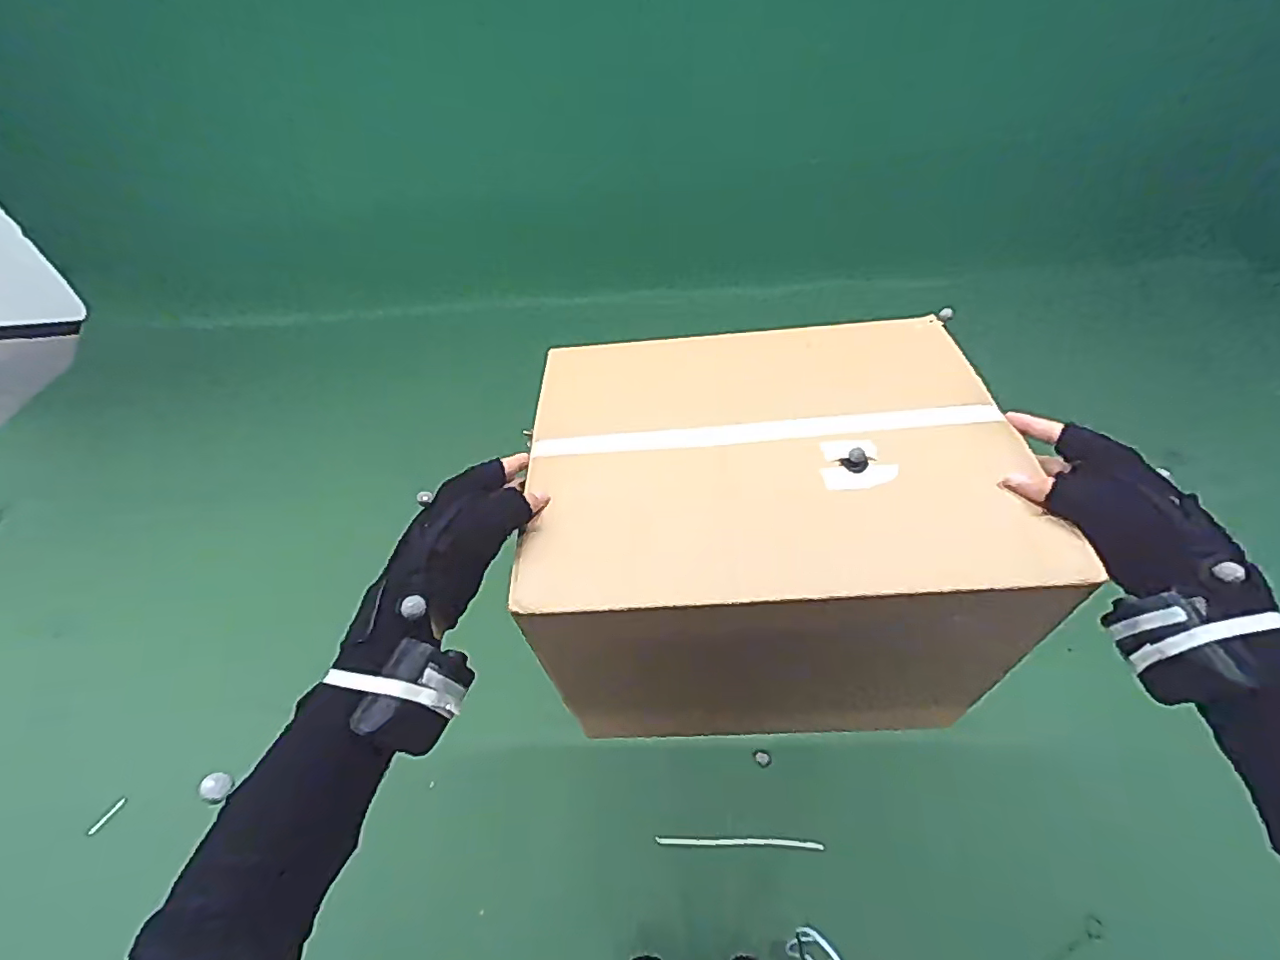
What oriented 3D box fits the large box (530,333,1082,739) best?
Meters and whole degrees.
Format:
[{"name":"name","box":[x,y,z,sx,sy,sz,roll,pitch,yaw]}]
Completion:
[{"name":"large box","box":[0.122,0.069,0.594,0.408,0.320,0.320,-4,49,3]}]
